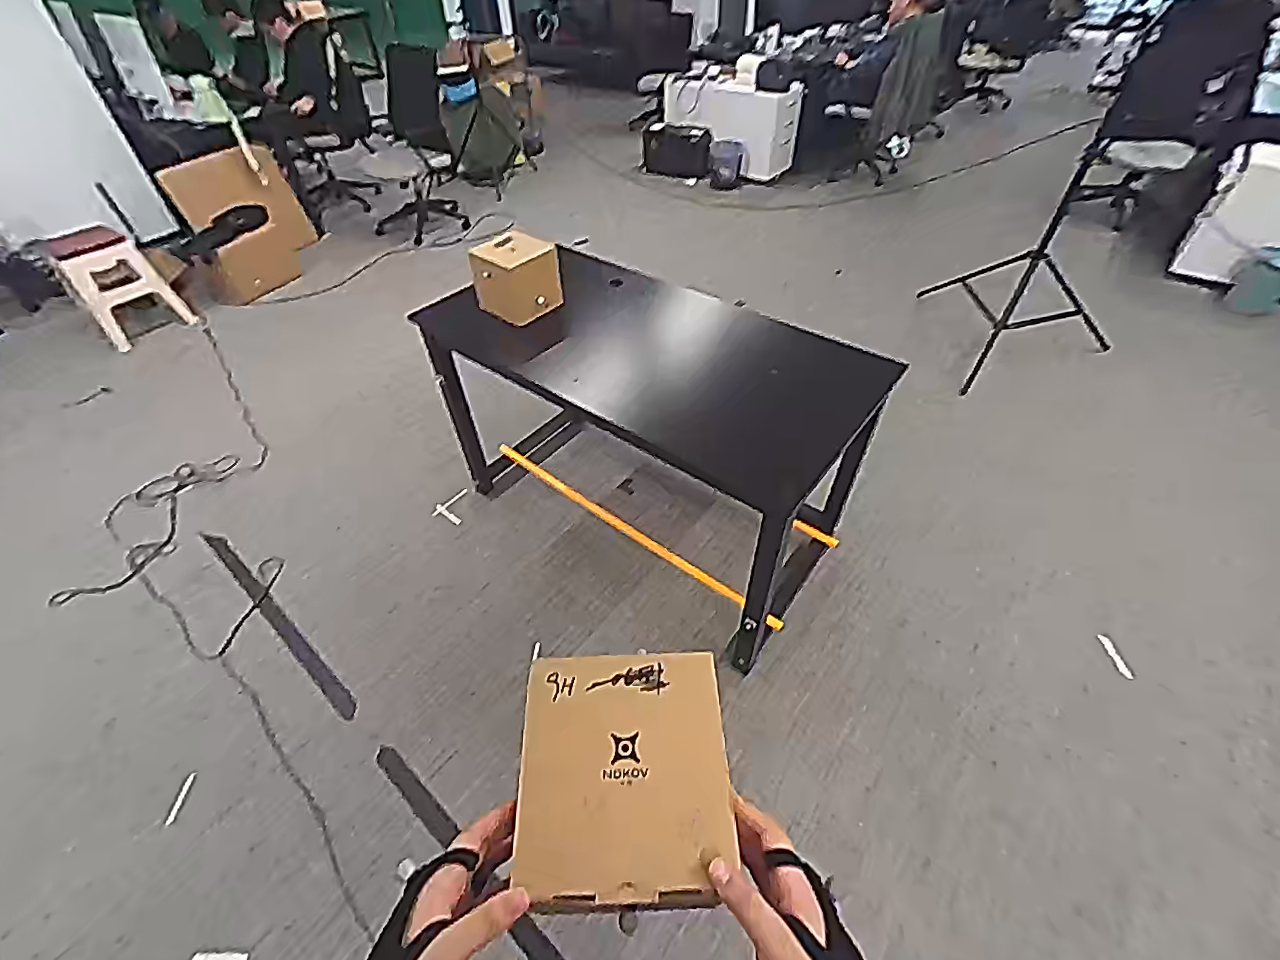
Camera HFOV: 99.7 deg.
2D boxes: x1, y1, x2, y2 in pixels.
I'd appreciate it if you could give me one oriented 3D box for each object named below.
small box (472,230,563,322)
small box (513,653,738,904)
[{"bbox_3d":[-0.334,-0.564,1.498,0.179,0.176,0.168,31,55,26],"label":"small box"},{"bbox_3d":[-0.012,0.277,0.499,0.168,0.176,0.179,-2,51,-2],"label":"small box"}]
